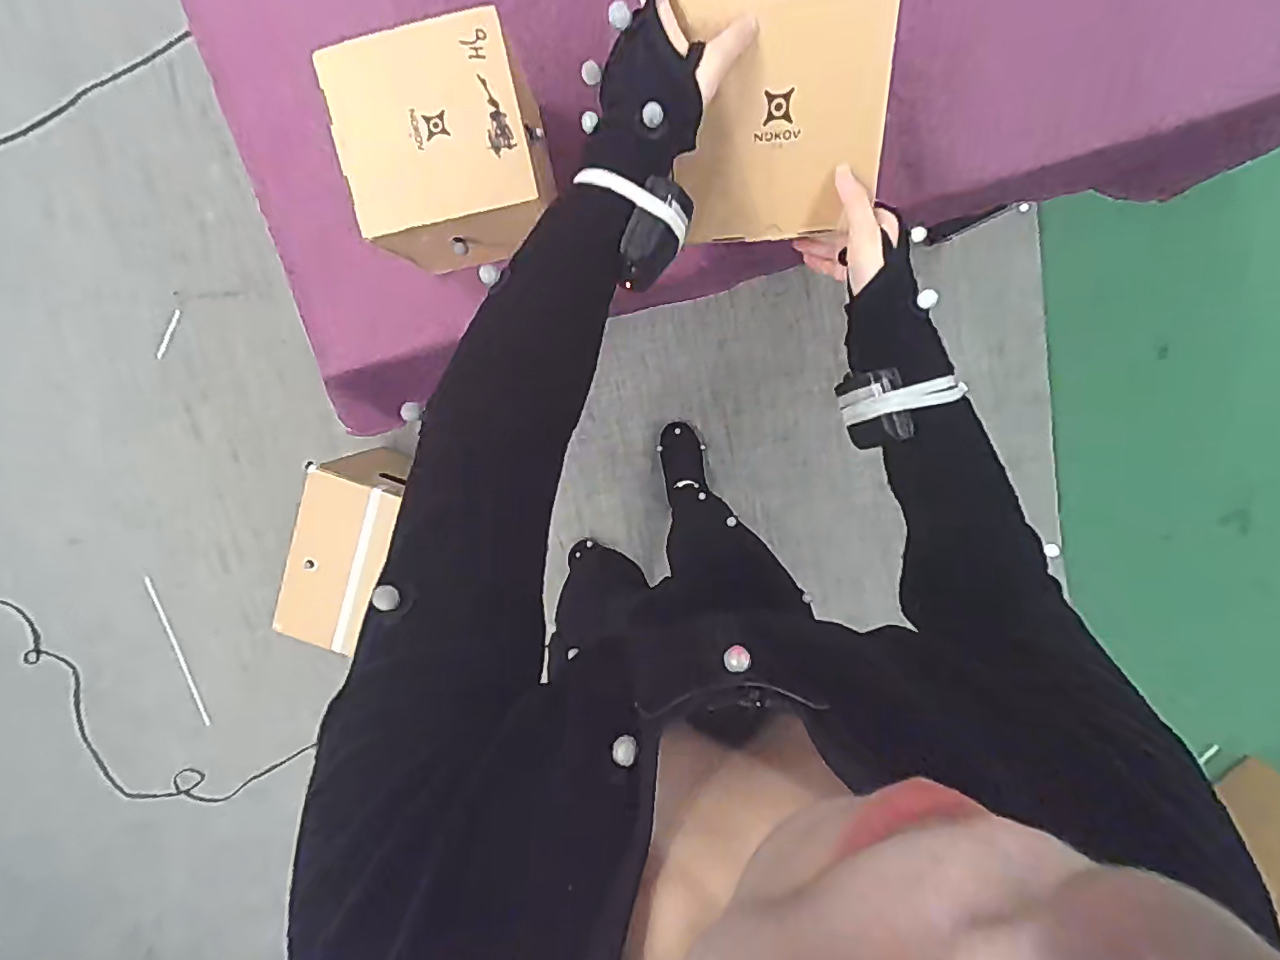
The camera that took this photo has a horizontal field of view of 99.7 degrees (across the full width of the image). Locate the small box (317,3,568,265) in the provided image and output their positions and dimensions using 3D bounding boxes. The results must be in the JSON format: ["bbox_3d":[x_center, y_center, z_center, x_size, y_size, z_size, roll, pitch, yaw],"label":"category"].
[{"bbox_3d":[-0.189,-0.341,0.573,0.179,0.176,0.168,-12,101,4],"label":"small box"}]

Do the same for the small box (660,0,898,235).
[{"bbox_3d":[0.106,-0.327,0.484,0.168,0.176,0.179,-4,121,3],"label":"small box"}]
